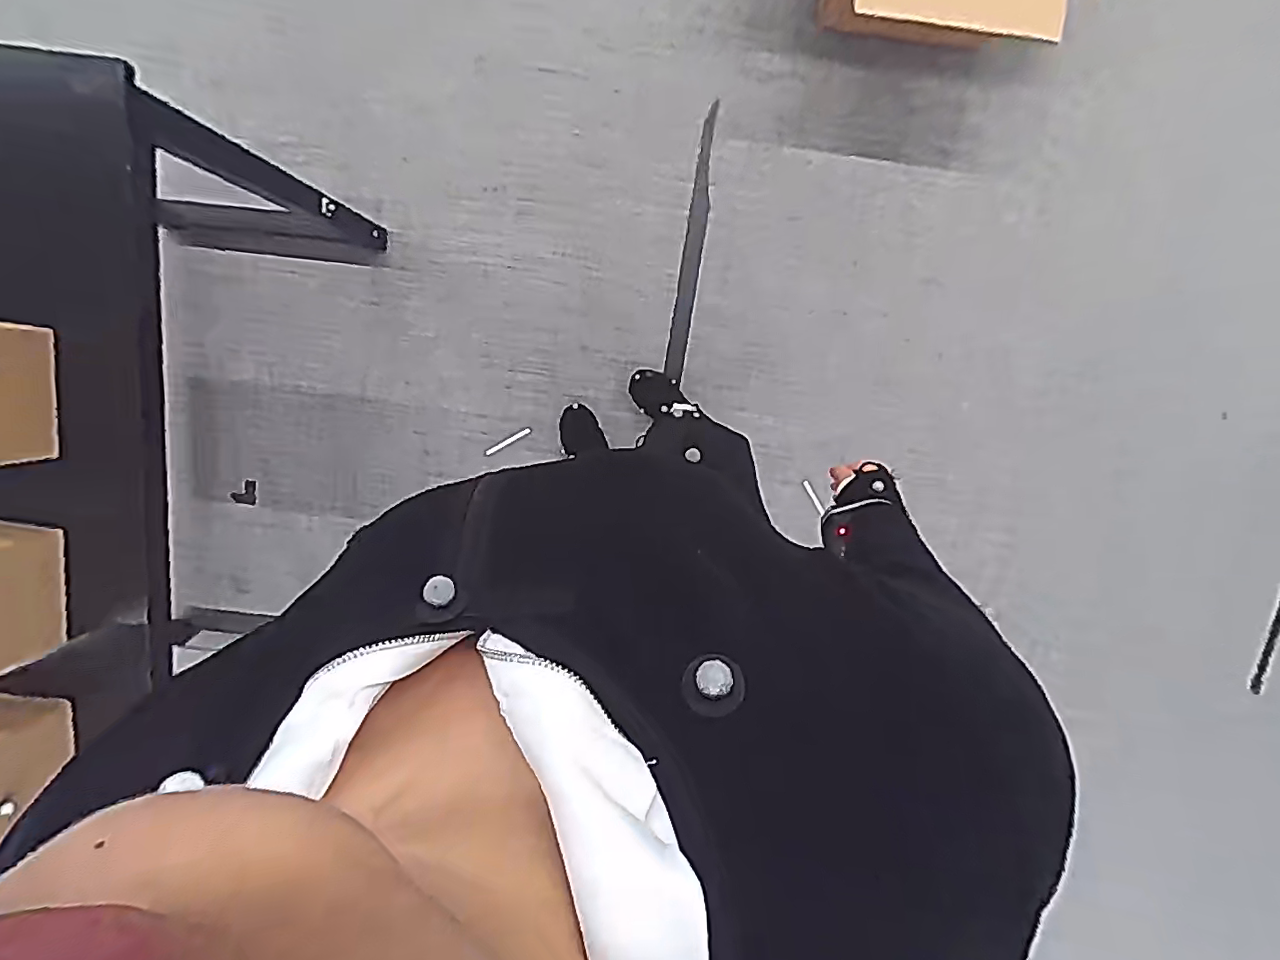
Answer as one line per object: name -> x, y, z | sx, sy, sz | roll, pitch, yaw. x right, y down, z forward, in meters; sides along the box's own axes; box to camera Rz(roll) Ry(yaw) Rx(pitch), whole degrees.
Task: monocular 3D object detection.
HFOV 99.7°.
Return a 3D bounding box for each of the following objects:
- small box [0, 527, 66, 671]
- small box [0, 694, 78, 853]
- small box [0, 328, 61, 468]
small box -> -0.912, 0.158, 0.704 | 0.168, 0.176, 0.179 | 9, 100, 0
small box -> -0.946, 0.425, 0.752 | 0.168, 0.176, 0.179 | 5, 100, 0
small box -> -0.872, -0.108, 0.657 | 0.168, 0.176, 0.179 | 7, 100, 1
